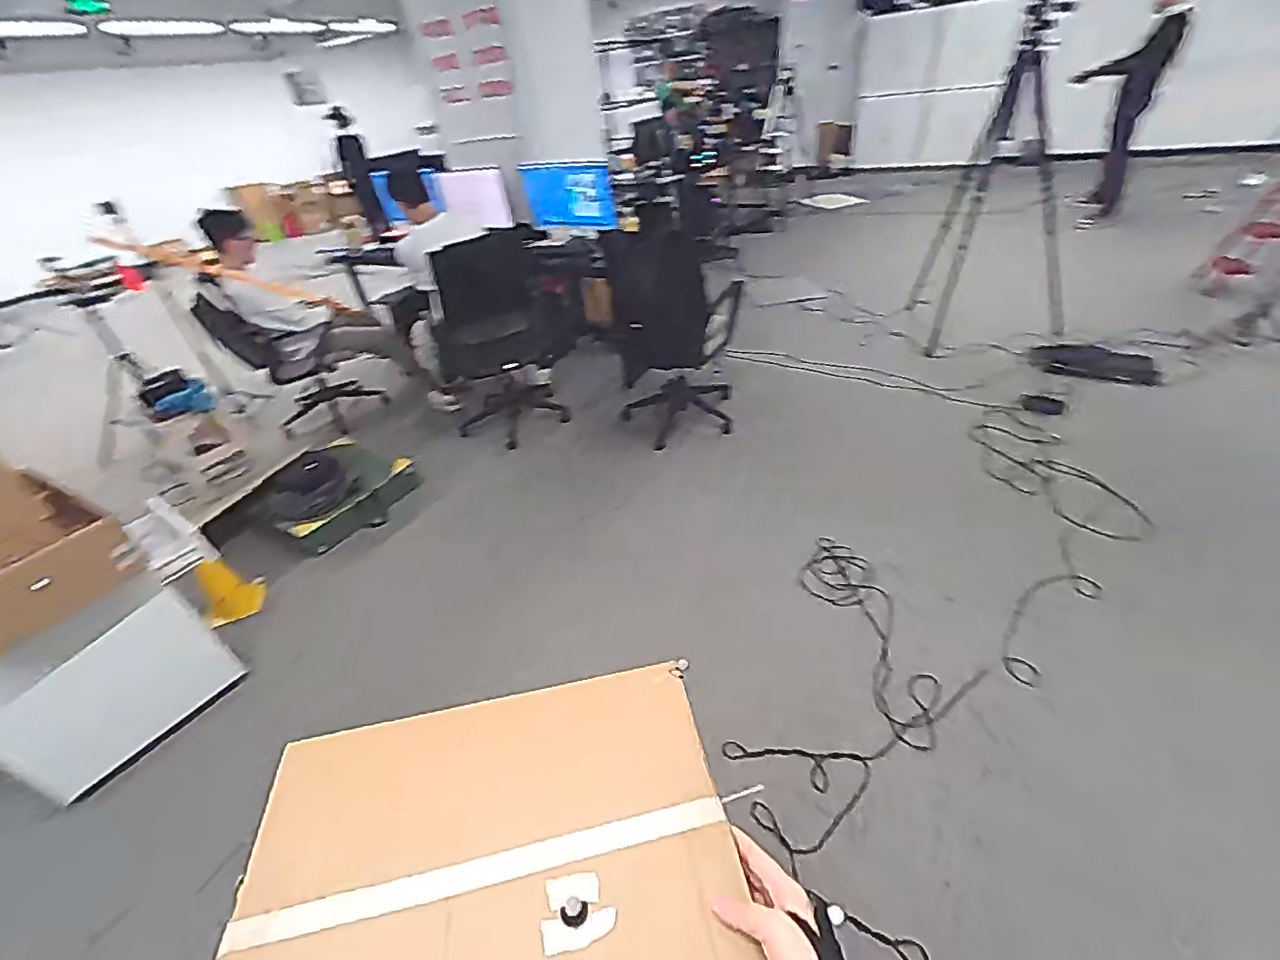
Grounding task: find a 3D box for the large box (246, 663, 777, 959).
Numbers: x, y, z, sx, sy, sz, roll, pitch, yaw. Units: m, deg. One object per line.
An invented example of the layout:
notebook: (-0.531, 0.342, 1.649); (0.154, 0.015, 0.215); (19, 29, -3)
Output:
large box: (-0.112, 0.444, 0.555); (0.408, 0.320, 0.320); (-8, 39, -8)
